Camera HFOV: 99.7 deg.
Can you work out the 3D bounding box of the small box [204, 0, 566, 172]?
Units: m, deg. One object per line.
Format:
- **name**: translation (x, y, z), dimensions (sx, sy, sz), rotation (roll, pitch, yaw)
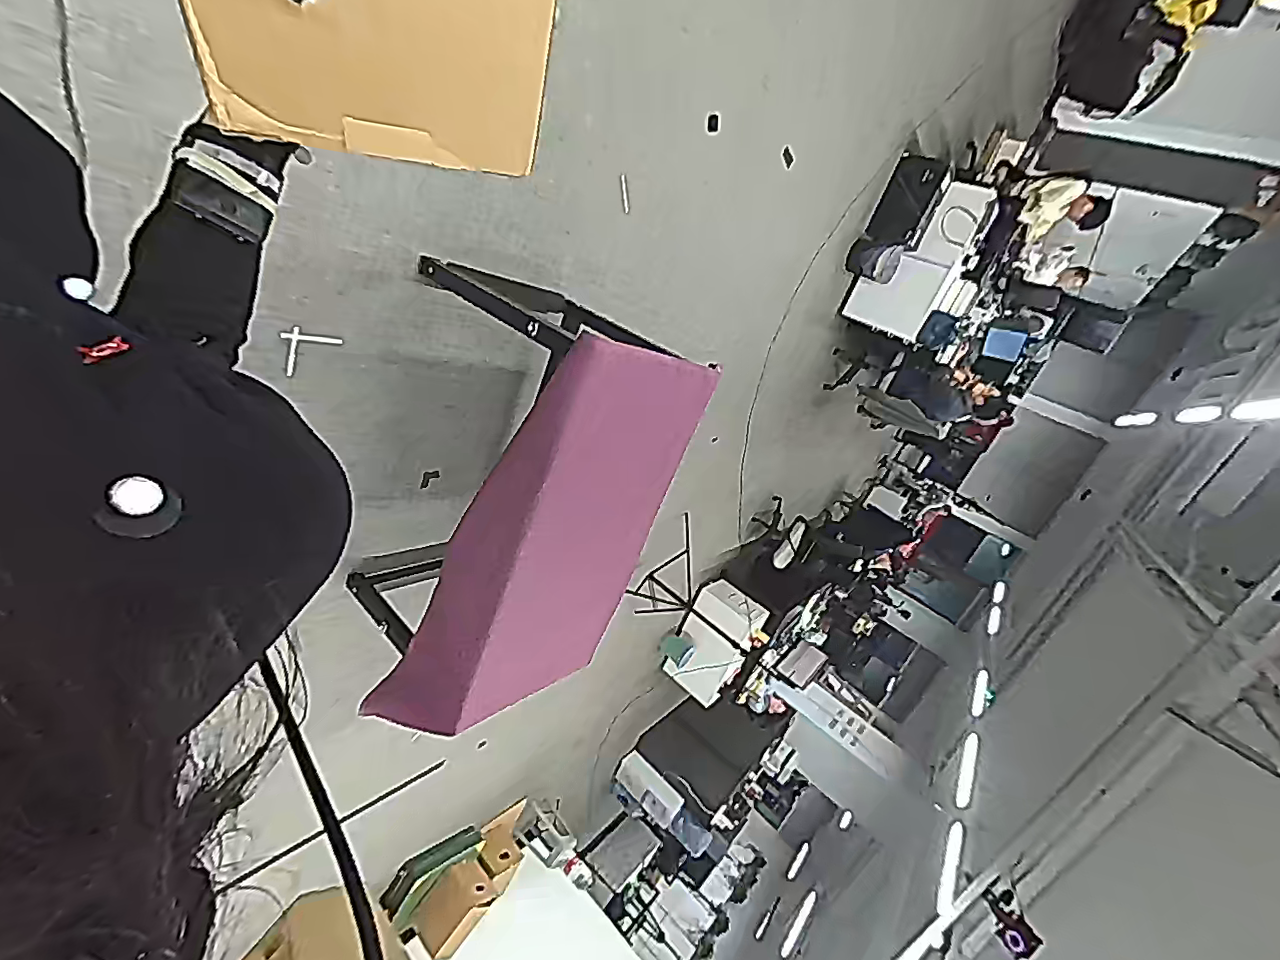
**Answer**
- **small box**: translation (-0.137, -0.303, 0.287), dimensions (0.168, 0.179, 0.176), rotation (-4, 146, -26)
